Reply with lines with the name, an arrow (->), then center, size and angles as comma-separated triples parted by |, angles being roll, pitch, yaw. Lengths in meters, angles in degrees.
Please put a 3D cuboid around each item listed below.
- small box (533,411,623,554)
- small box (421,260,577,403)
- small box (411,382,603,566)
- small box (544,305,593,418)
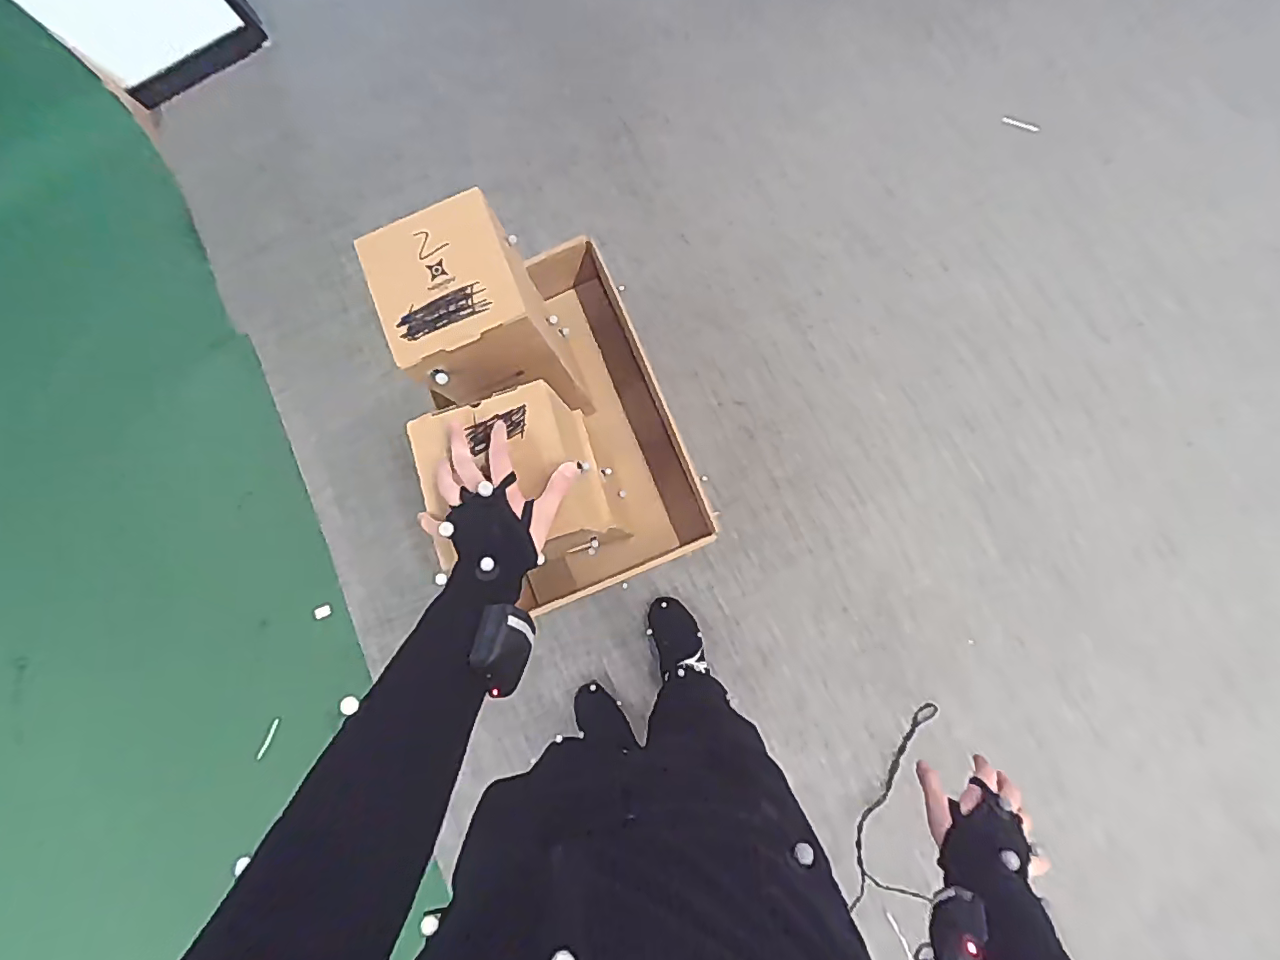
small box -> -0.132, 0.015, 0.839 | 0.168, 0.176, 0.179 | -17, 81, 3
small box -> -0.219, -0.213, 0.879 | 0.168, 0.176, 0.179 | -23, 83, 2
small box -> -0.155, 0.002, 0.676 | 0.168, 0.176, 0.179 | -17, 83, 3
small box -> -0.205, -0.198, 1.040 | 0.168, 0.176, 0.179 | -23, 83, 3
